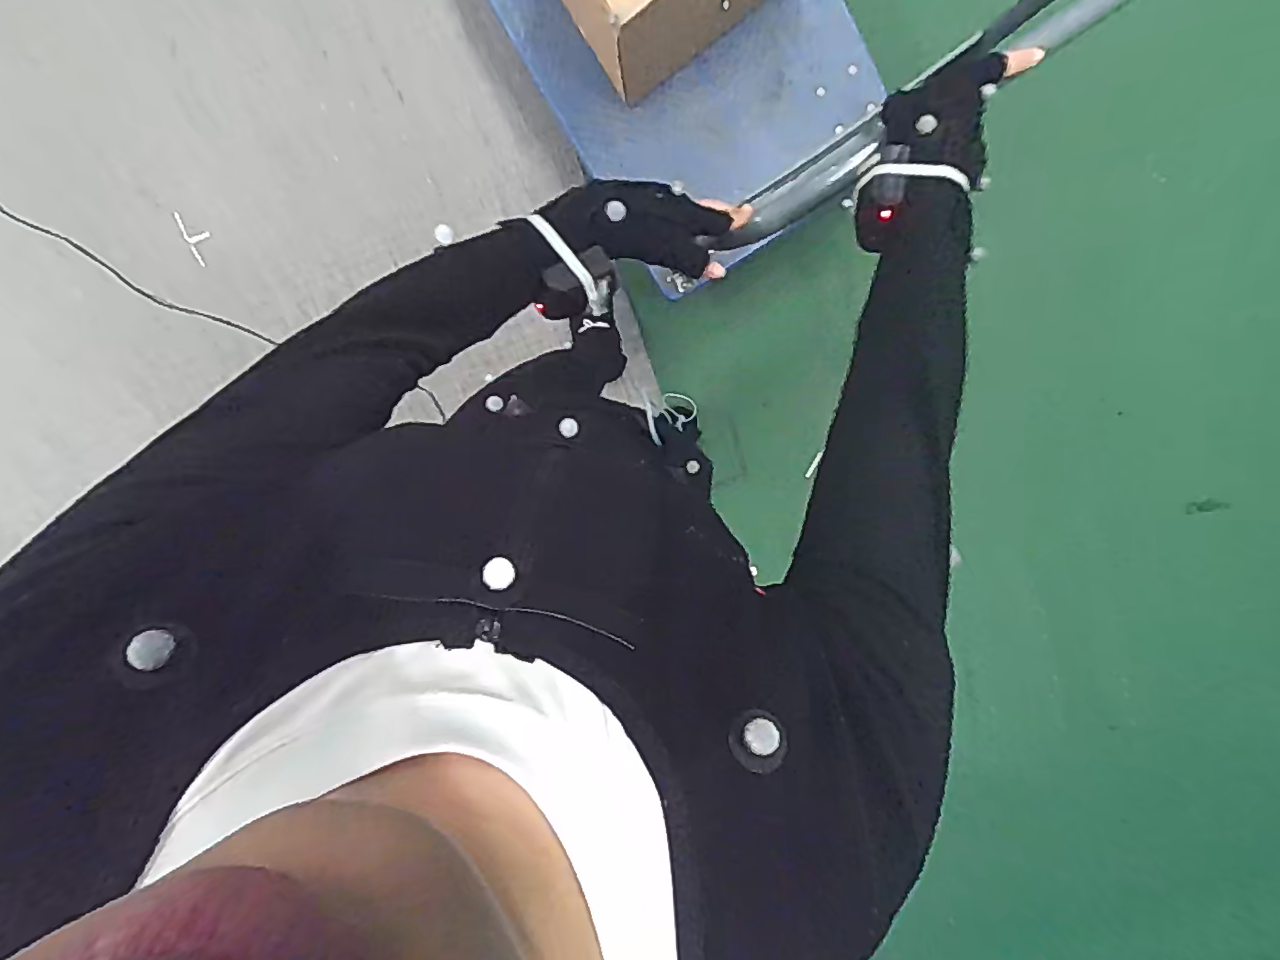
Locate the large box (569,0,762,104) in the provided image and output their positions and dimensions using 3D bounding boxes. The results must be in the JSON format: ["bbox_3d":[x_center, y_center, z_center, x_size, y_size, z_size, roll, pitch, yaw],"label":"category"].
[{"bbox_3d":[0.059,-0.944,0.888,0.408,0.320,0.320,-34,101,11],"label":"large box"}]
